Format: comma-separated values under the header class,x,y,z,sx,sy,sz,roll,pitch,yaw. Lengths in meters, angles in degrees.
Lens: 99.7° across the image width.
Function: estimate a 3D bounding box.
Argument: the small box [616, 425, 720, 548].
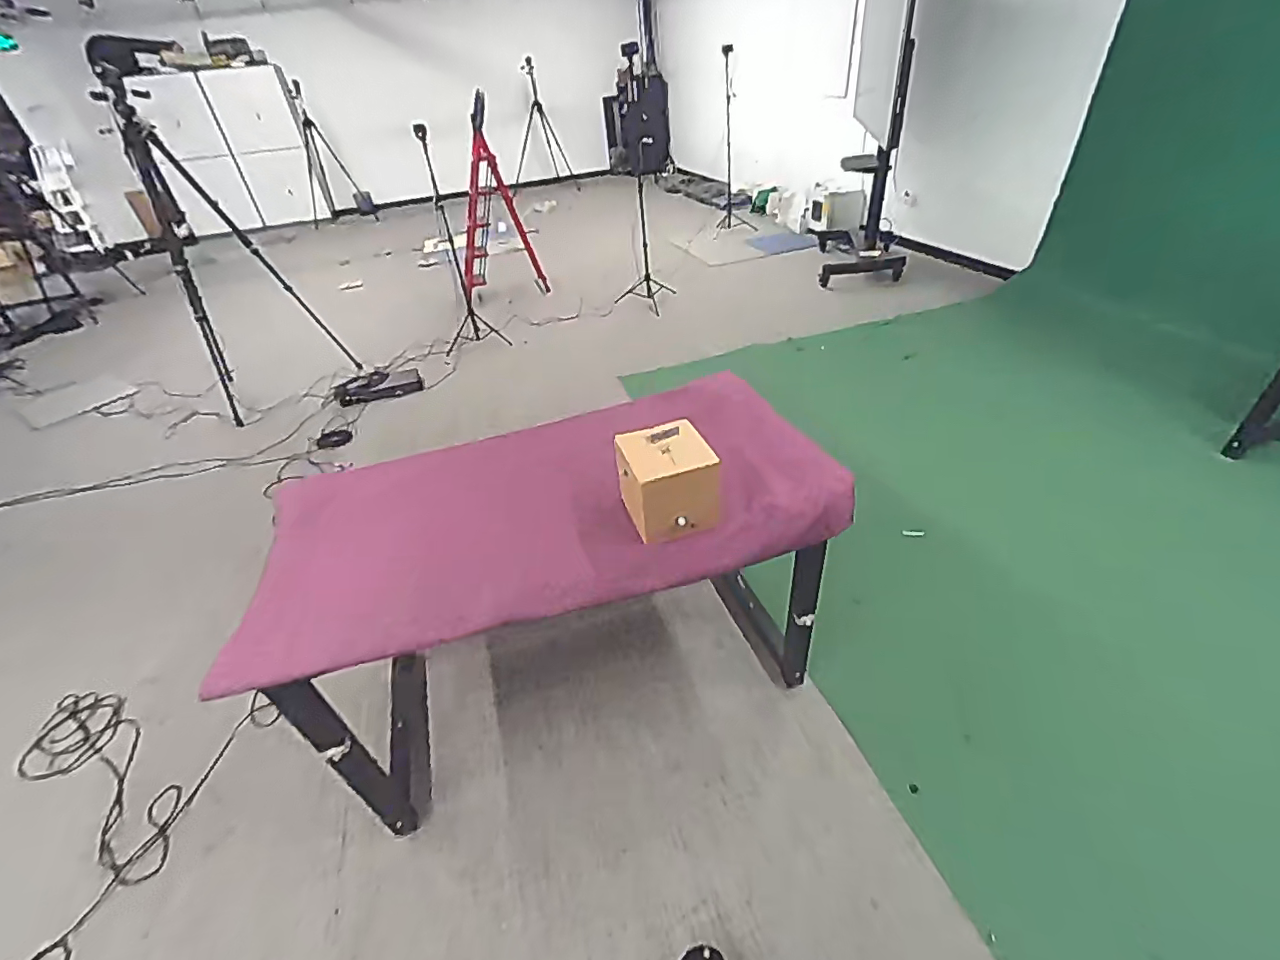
class,x,y,z,sx,sy,sz,roll,pitch,yaw
small box,0.056,0.012,1.126,0.168,0.176,0.179,-15,38,-12
